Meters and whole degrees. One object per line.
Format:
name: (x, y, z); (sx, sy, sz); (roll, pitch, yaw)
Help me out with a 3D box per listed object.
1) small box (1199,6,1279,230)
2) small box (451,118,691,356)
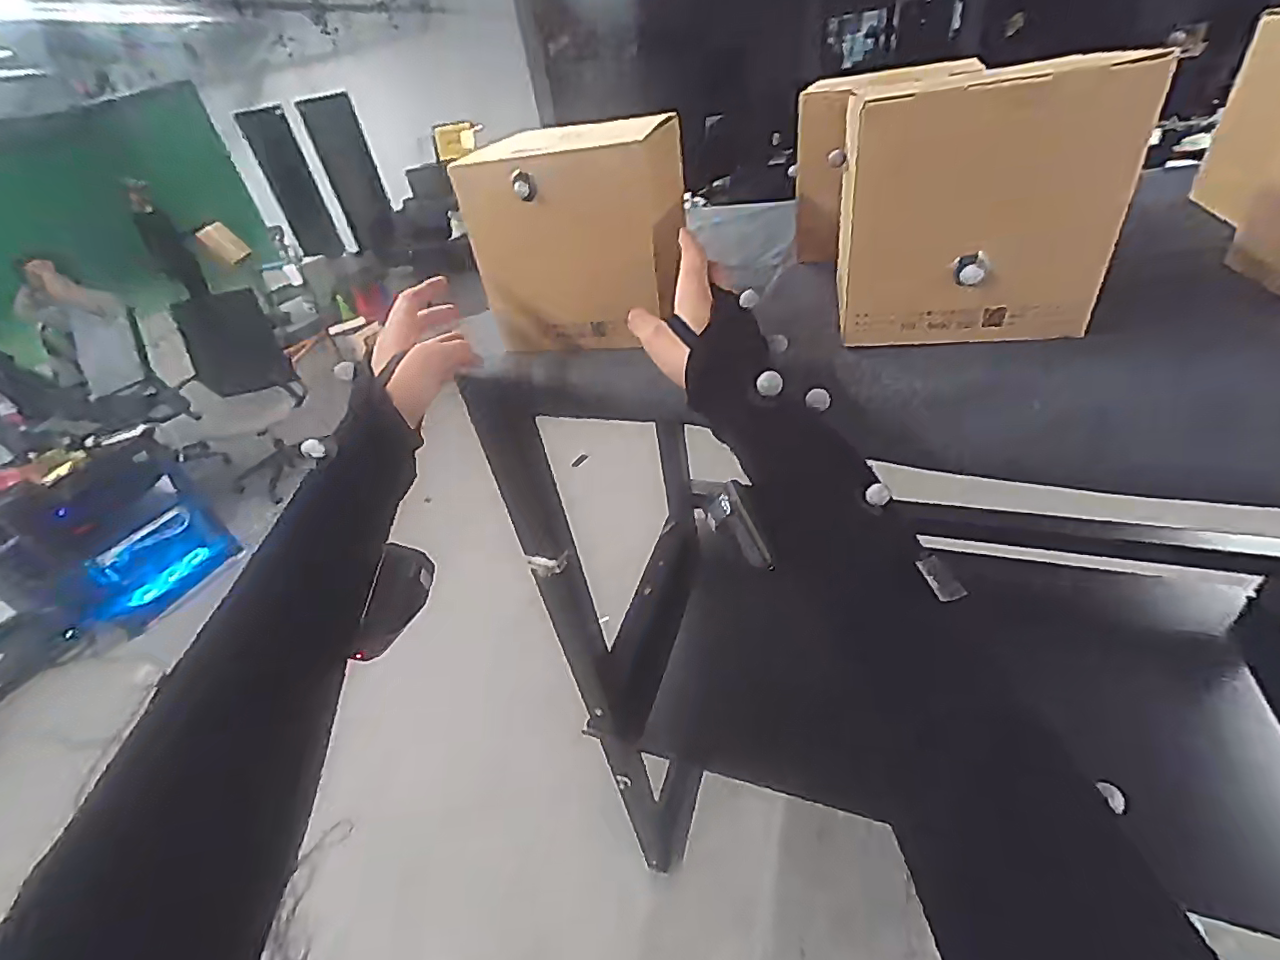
small box: (0.659, -0.323, 0.475); (0.168, 0.176, 0.179); (6, 41, 21)
small box: (-0.046, -0.233, 0.523); (0.168, 0.176, 0.179); (1, 38, 15)
